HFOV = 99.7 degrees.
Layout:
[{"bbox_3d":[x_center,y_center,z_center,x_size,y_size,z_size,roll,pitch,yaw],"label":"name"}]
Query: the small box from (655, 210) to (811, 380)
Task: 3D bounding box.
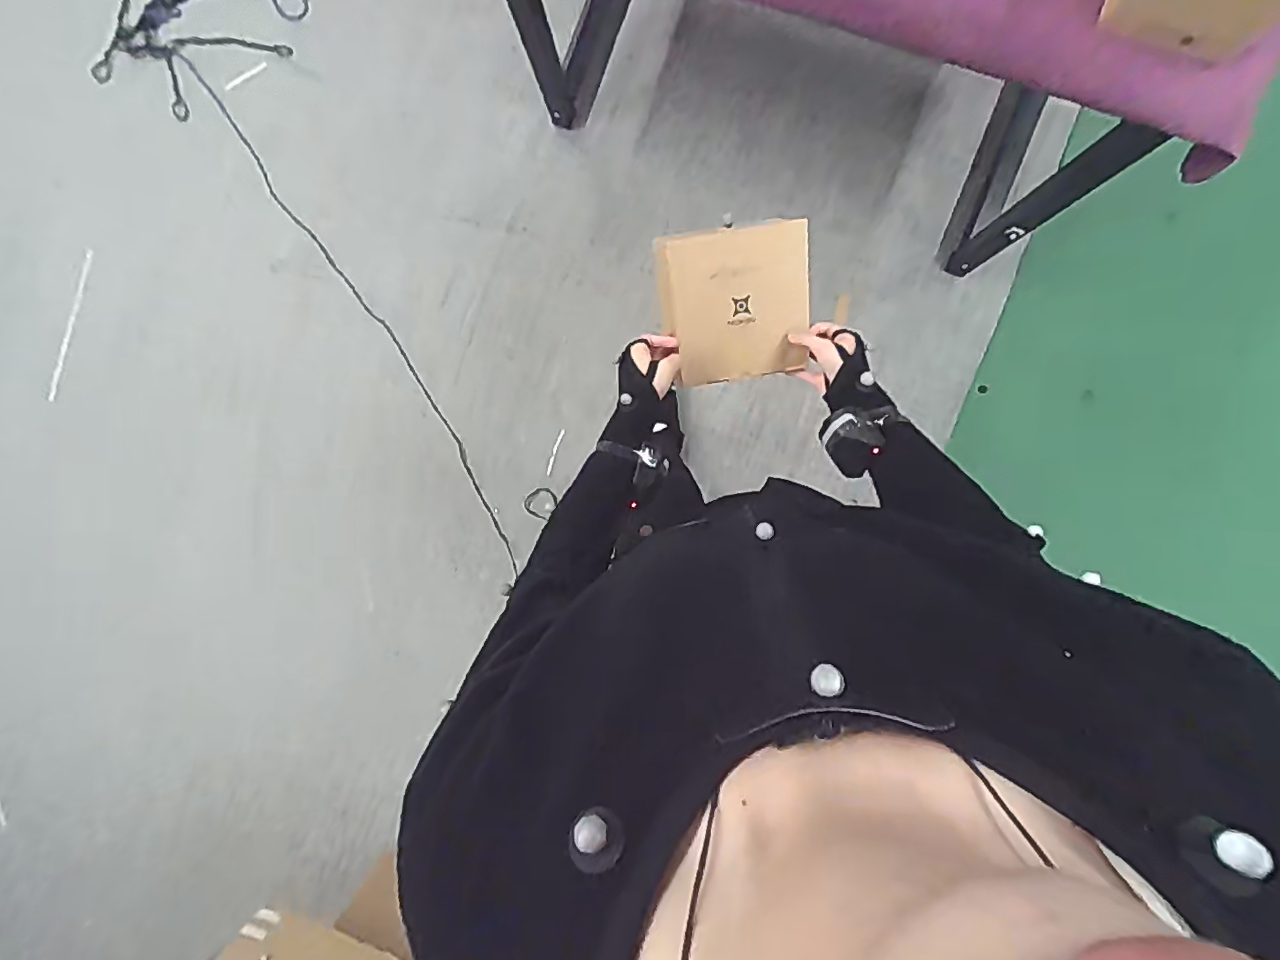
[{"bbox_3d":[0.115,-0.248,0.711,0.168,0.176,0.179,-9,117,0],"label":"small box"}]
